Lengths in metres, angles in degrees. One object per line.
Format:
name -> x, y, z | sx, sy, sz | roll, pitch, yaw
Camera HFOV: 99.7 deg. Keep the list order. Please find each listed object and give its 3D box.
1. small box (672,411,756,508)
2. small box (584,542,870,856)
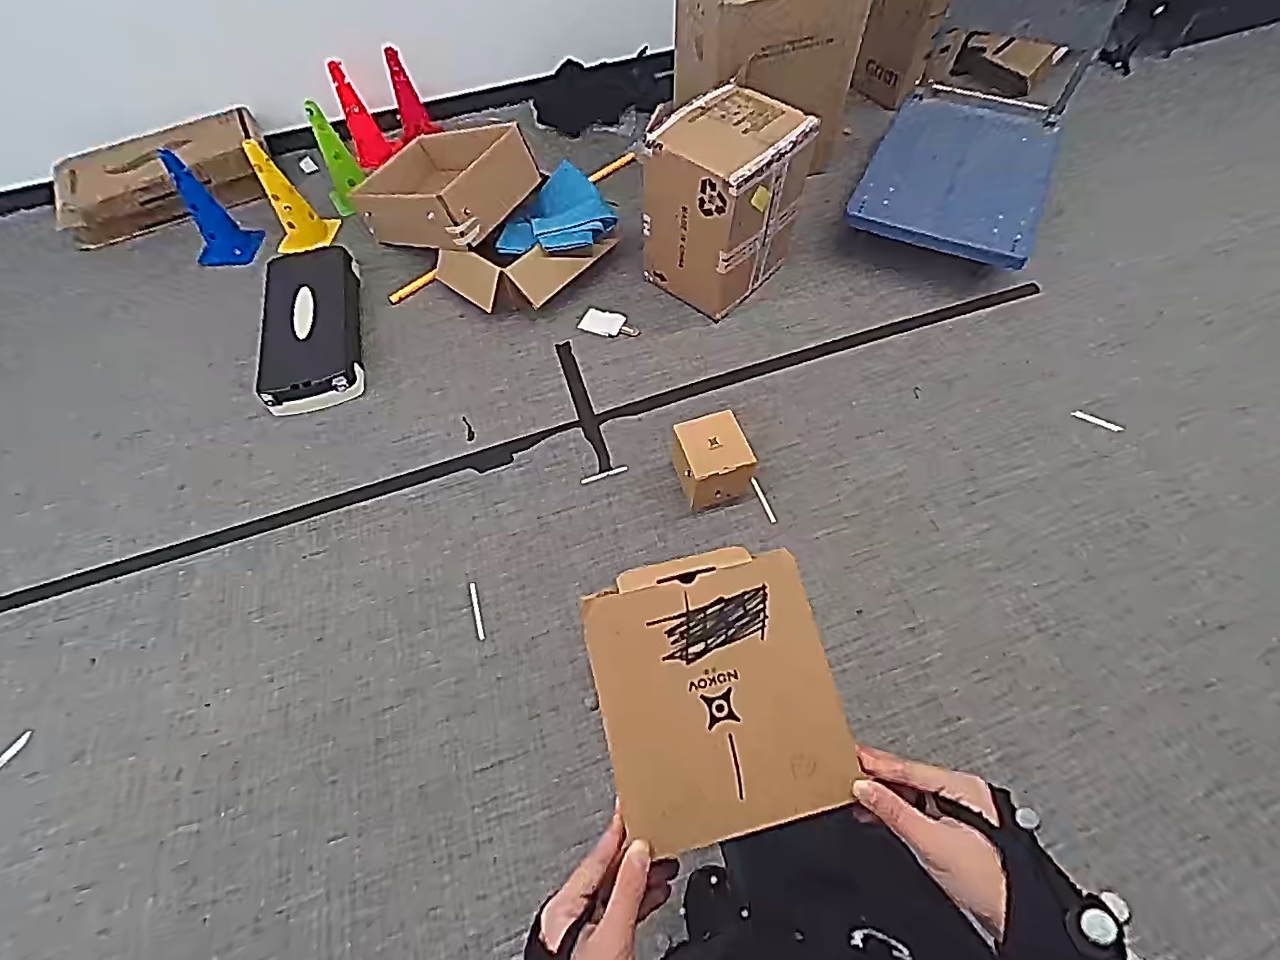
small box -> 0.189, -0.051, 1.444 | 0.168, 0.176, 0.179 | -17, 61, -8
small box -> 0.052, 0.167, 0.450 | 0.168, 0.176, 0.179 | -13, 74, -5
